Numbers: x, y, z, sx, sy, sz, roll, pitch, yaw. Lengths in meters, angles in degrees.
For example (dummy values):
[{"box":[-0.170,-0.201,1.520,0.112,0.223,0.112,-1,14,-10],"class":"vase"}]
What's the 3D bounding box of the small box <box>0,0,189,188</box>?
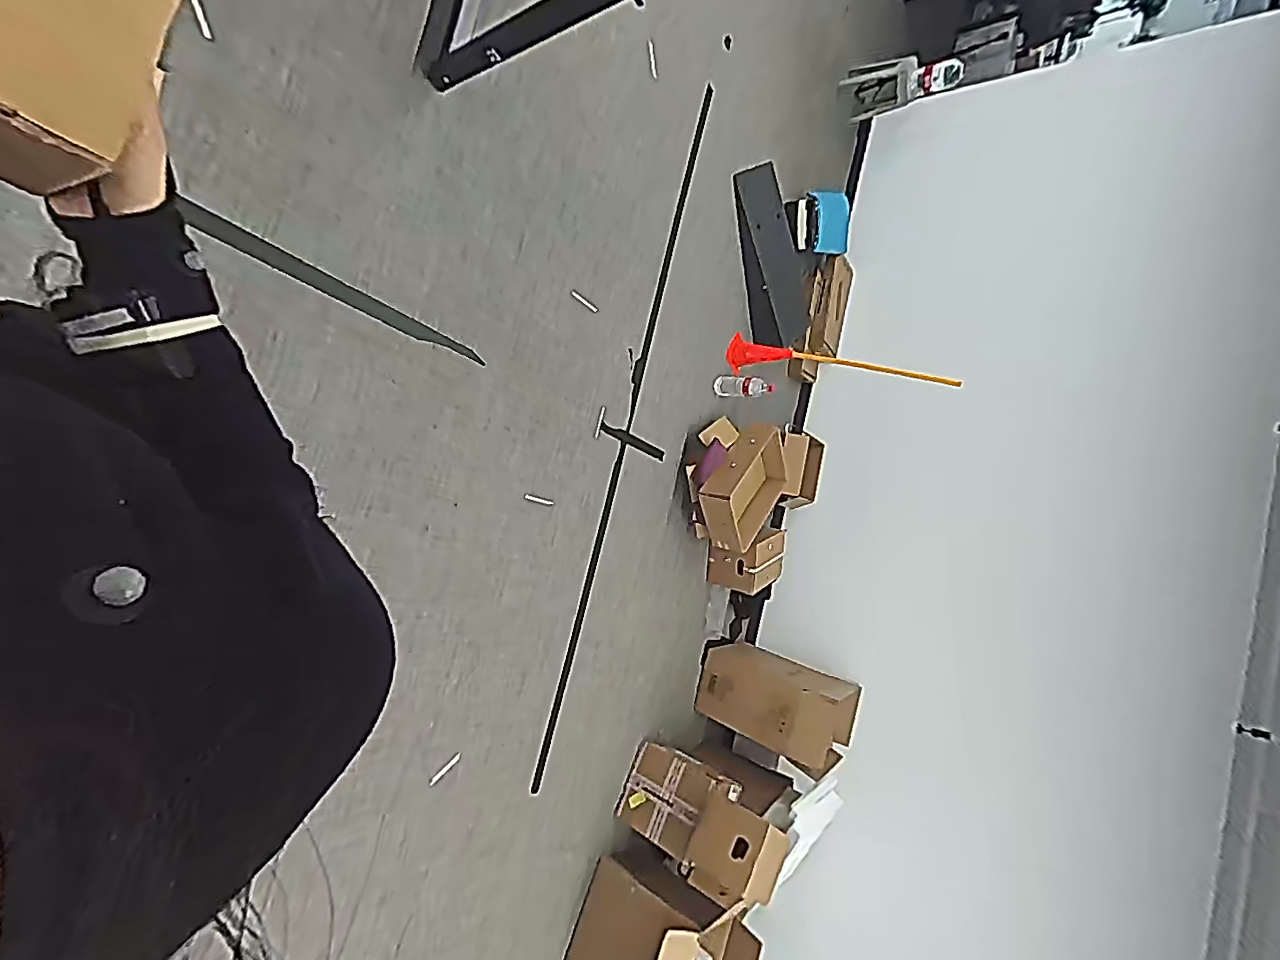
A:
[{"box":[-0.317,-0.253,0.228,0.168,0.176,0.179,23,82,-57],"class":"small box"}]
